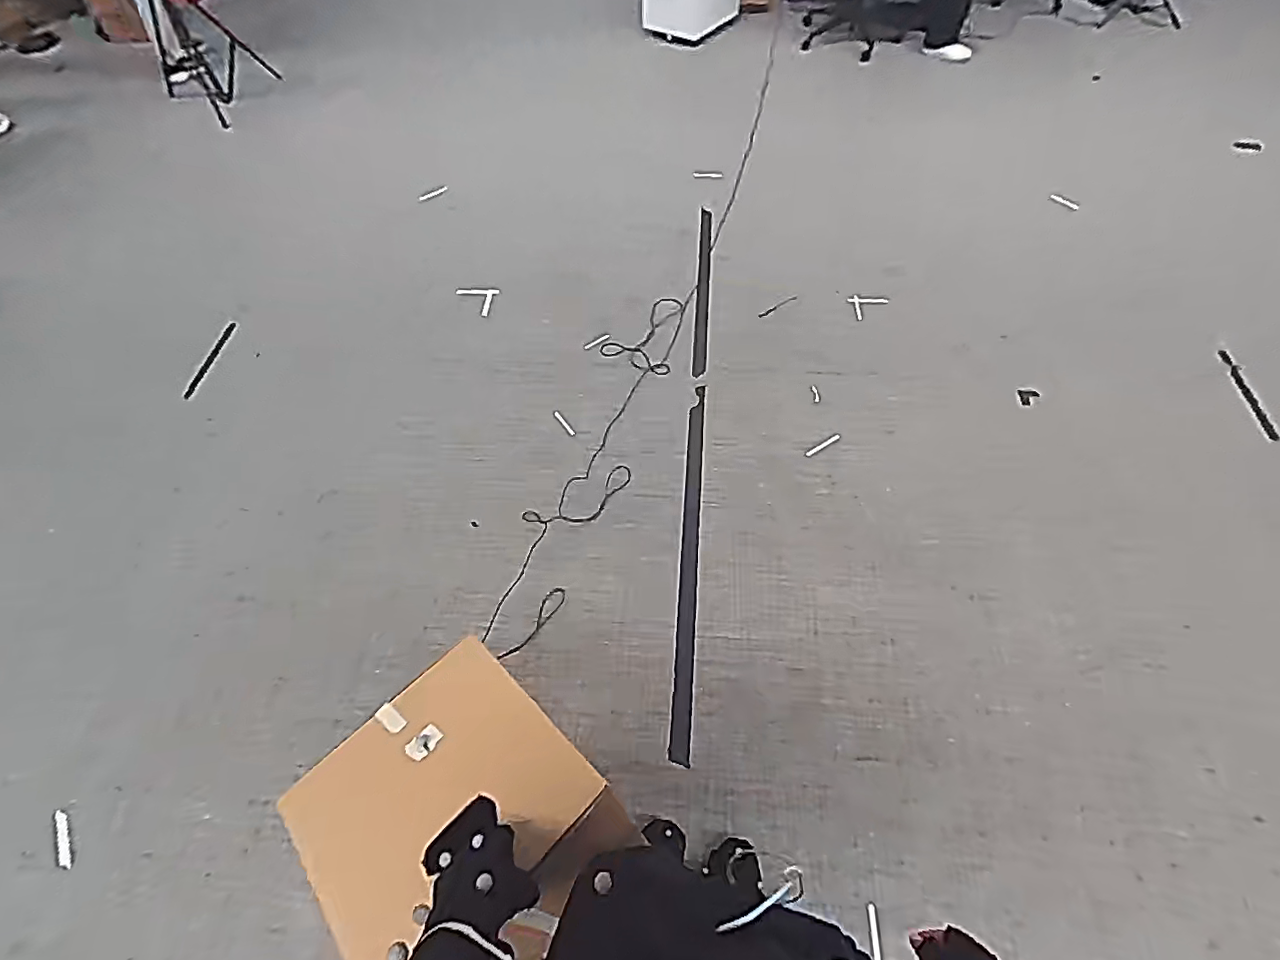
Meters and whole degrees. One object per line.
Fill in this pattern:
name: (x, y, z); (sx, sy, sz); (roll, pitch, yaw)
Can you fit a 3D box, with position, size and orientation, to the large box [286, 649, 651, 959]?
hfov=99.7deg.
large box: (-0.223, 0.533, 0.821); (0.320, 0.408, 0.320); (32, 61, 34)
